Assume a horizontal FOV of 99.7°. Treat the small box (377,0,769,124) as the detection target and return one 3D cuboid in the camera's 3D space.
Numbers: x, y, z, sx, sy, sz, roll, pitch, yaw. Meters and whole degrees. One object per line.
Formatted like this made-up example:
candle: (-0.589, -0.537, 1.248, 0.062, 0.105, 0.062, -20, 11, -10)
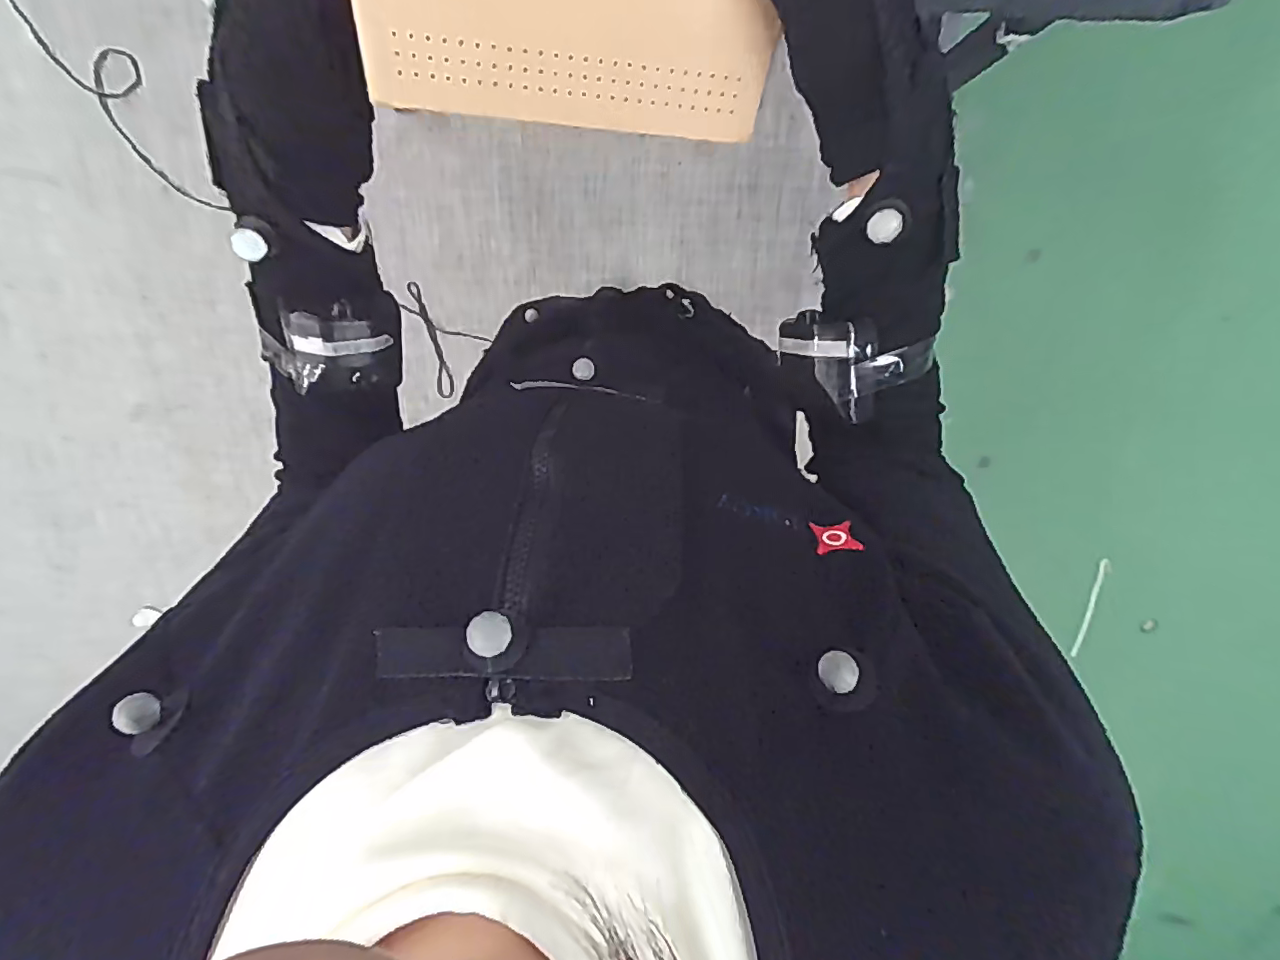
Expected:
small box: (-0.031, -0.288, 0.250, 0.179, 0.168, 0.176, -2, 139, -15)
